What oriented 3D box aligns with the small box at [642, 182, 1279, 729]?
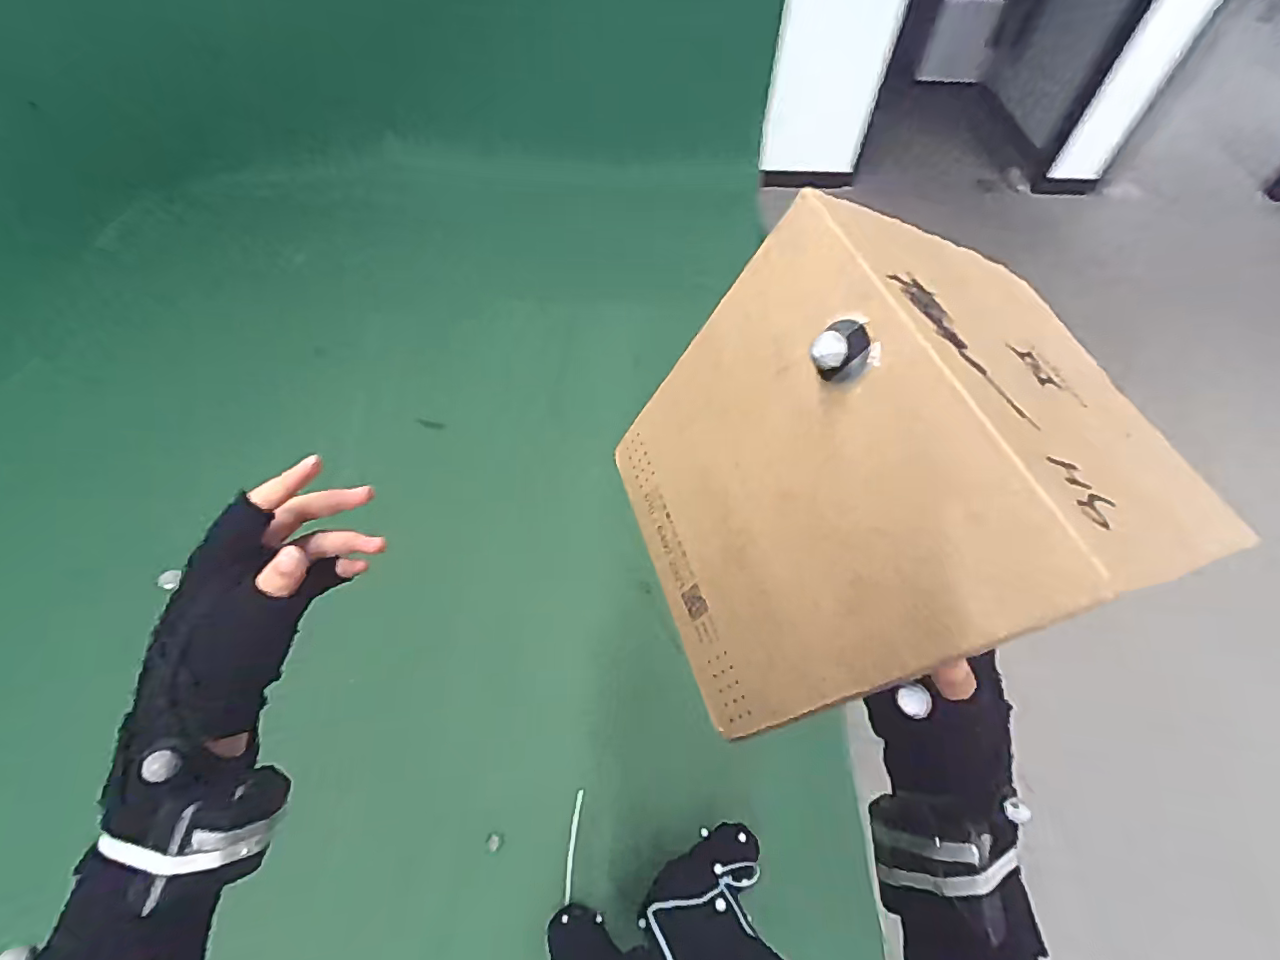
[{"bbox_3d":[0.129,0.003,0.265,0.179,0.176,0.168,1,56,-34],"label":"small box"}]
